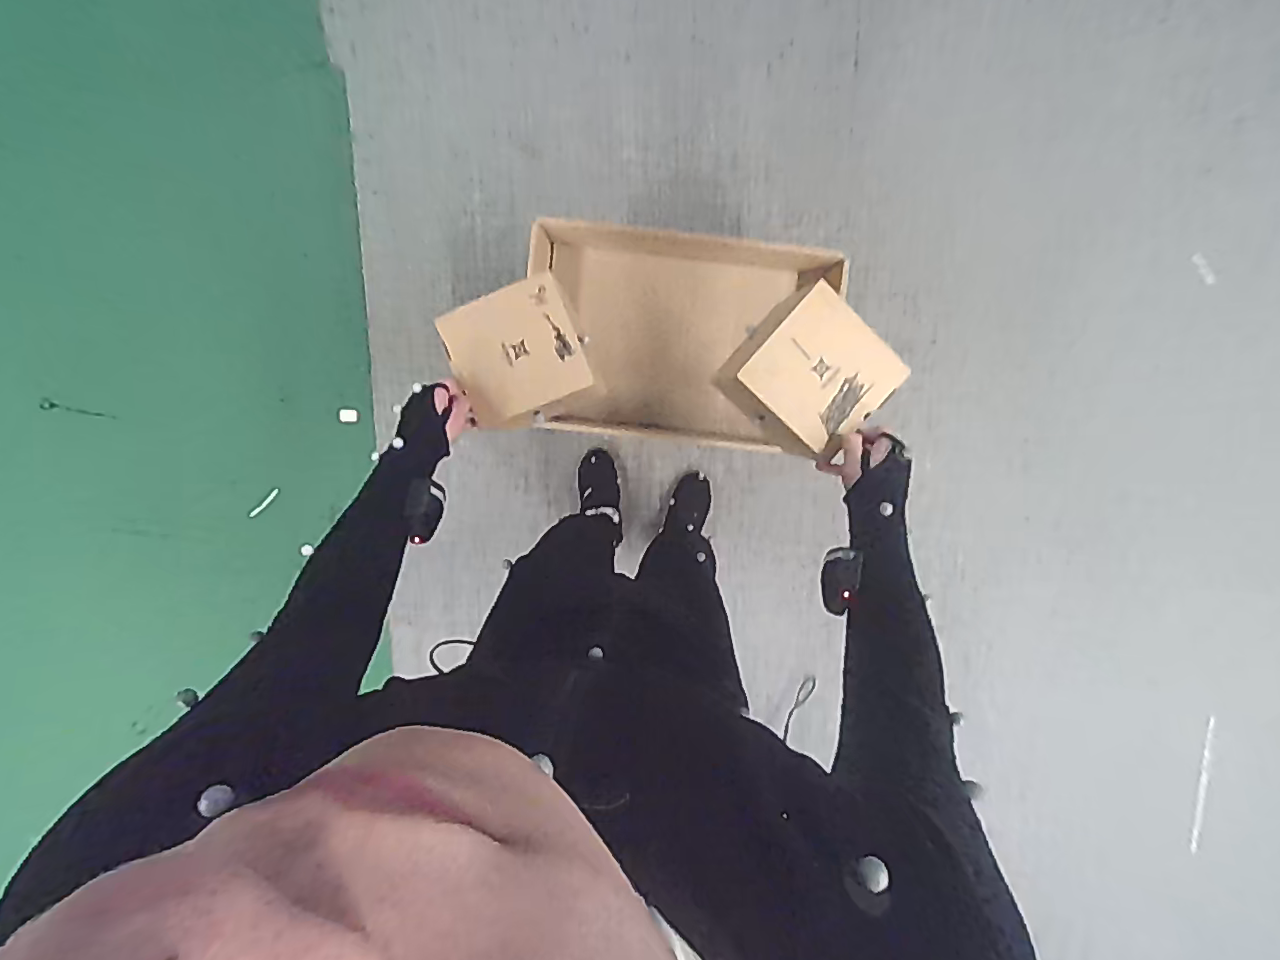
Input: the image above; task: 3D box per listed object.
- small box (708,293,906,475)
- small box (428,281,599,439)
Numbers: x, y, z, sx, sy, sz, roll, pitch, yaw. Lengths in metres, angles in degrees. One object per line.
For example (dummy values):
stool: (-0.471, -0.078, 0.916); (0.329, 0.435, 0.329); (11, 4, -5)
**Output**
small box: (0.225, -0.132, 0.771); (0.179, 0.176, 0.168); (42, 91, -9)
small box: (-0.174, -0.163, 0.801); (0.179, 0.176, 0.168); (-21, 93, 3)
